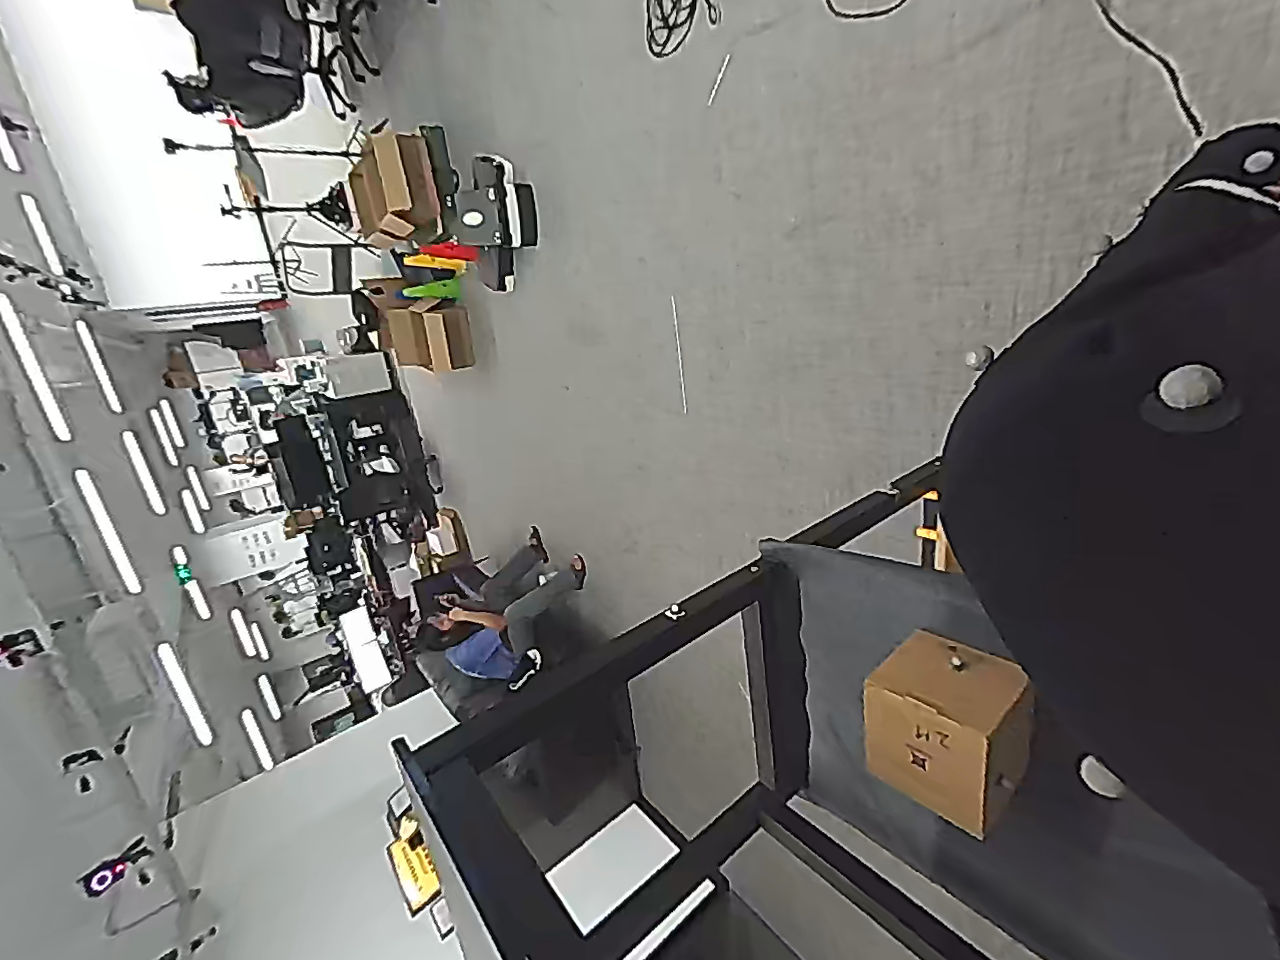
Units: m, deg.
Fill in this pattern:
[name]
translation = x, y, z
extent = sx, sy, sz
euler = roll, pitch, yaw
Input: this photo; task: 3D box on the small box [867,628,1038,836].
[small box]
translation = 0.452, 0.350, 0.786
extent = 0.168, 0.176, 0.179
euler = 13, 117, 50
